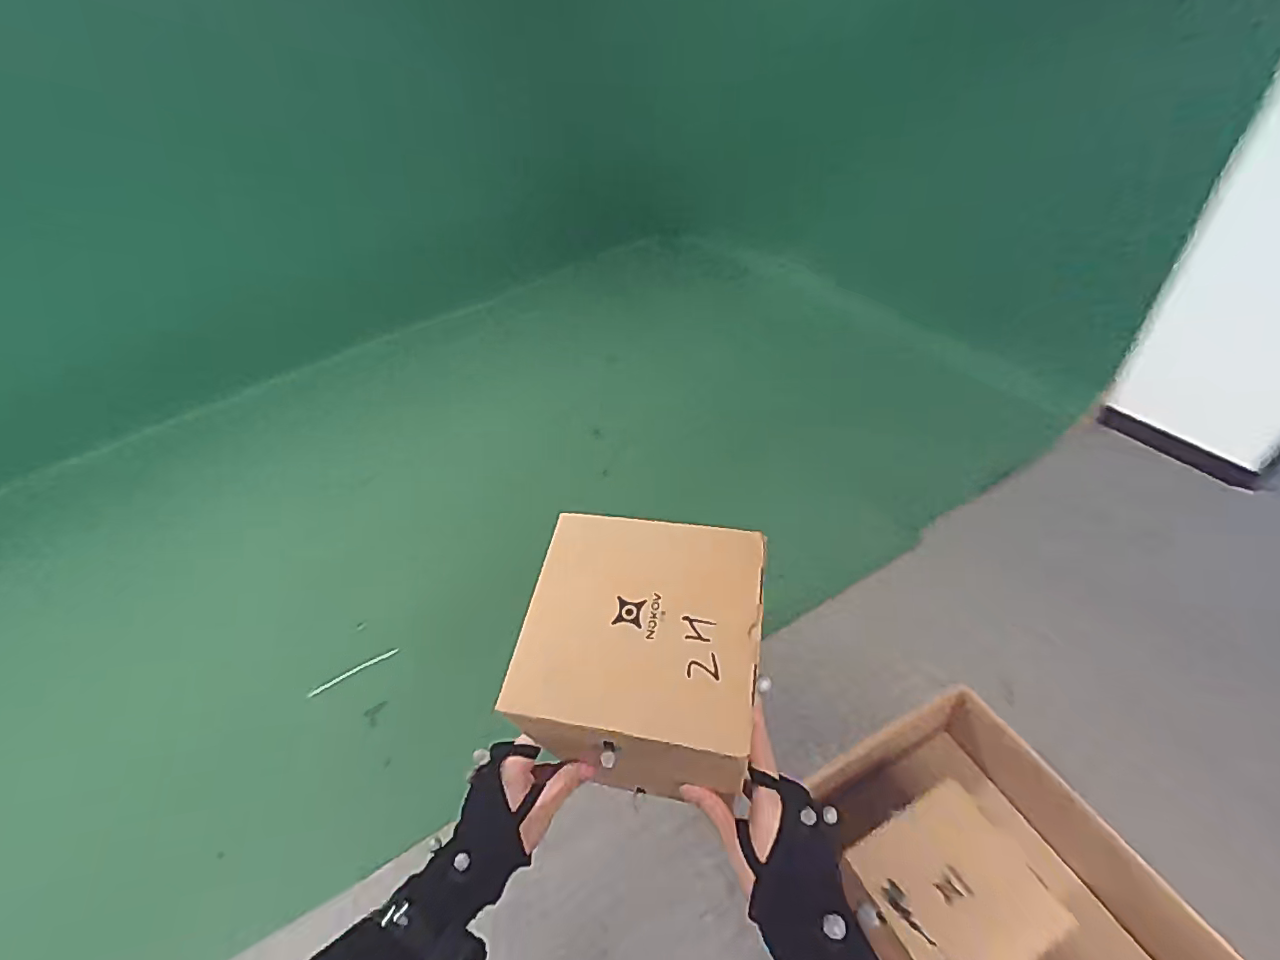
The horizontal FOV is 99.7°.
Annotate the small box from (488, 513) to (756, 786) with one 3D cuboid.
[{"bbox_3d":[0.002,0.148,0.464,0.179,0.176,0.168,5,54,11],"label":"small box"}]

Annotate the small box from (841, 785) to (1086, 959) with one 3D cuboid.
[{"bbox_3d":[0.371,0.516,0.660,0.179,0.176,0.168,-24,45,-13],"label":"small box"}]

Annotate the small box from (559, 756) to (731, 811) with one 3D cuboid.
[{"bbox_3d":[0.021,0.243,0.597,0.168,0.176,0.179,4,54,11],"label":"small box"}]
